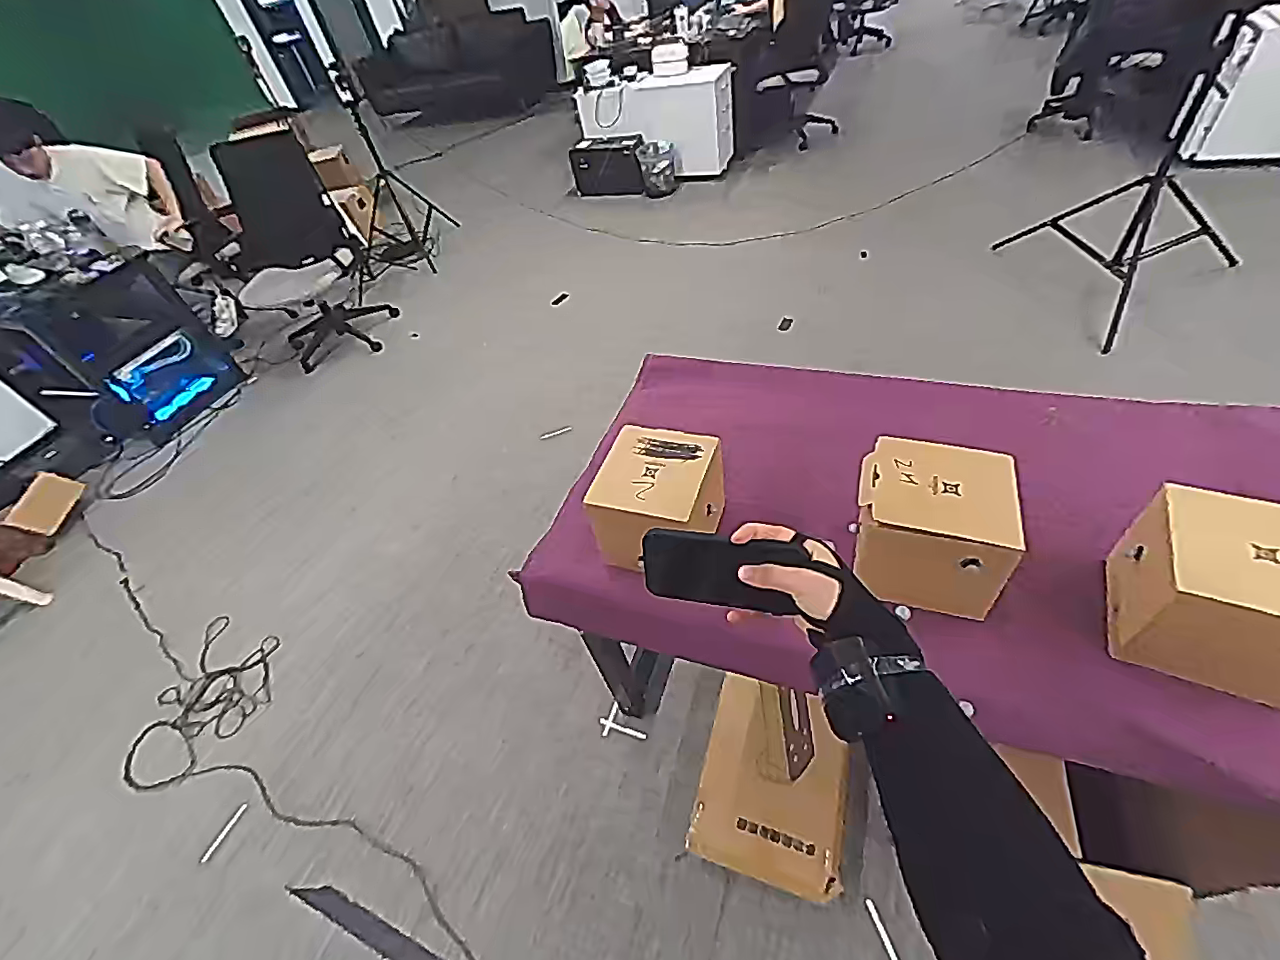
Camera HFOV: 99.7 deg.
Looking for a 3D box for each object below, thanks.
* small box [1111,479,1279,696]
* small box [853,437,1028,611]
[{"bbox_3d":[0.699,0.128,0.643,0.179,0.176,0.168,15,53,24],"label":"small box"},{"bbox_3d":[0.411,0.064,0.764,0.179,0.176,0.168,9,48,20],"label":"small box"}]
